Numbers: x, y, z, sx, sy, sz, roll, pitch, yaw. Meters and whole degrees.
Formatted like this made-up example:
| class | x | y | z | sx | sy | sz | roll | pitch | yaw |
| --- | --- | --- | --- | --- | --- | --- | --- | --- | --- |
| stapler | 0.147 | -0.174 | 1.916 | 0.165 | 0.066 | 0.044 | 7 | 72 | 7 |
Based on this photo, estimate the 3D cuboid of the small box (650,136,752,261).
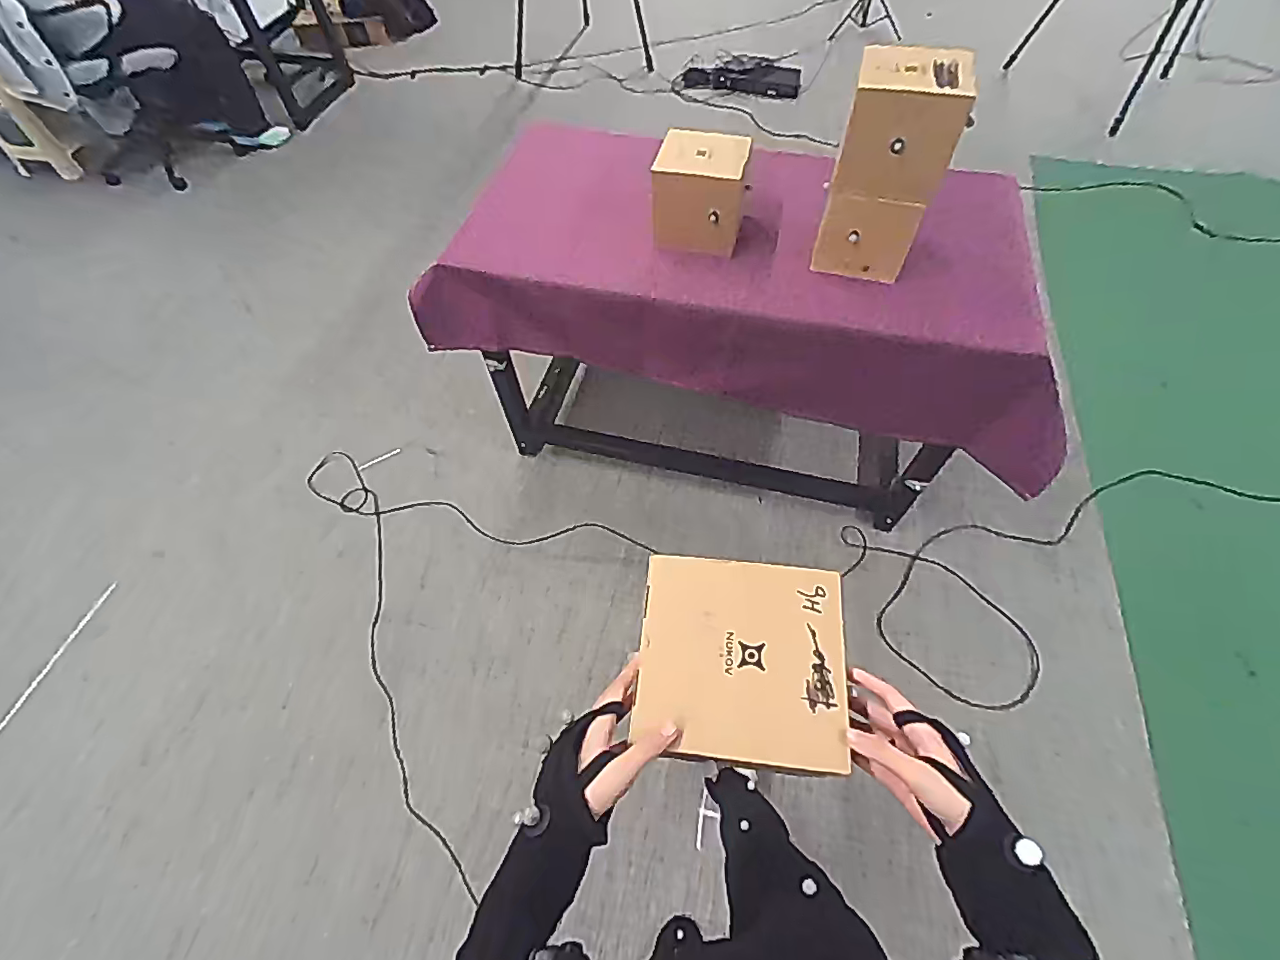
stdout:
| class | x | y | z | sx | sy | sz | roll | pitch | yaw |
| --- | --- | --- | --- | --- | --- | --- | --- | --- | --- |
| small box | 0.126 | -0.586 | 1.135 | 0.179 | 0.176 | 0.168 | 12 | 58 | 10 |

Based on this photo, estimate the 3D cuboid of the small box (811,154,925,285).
| class | x | y | z | sx | sy | sz | roll | pitch | yaw |
| --- | --- | --- | --- | --- | --- | --- | --- | --- | --- |
| small box | 0.448 | -0.515 | 1.077 | 0.168 | 0.176 | 0.179 | 13 | 58 | 11 |

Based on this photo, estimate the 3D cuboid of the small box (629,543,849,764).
| class | x | y | z | sx | sy | sz | roll | pitch | yaw |
| --- | --- | --- | --- | --- | --- | --- | --- | --- | --- |
| small box | 0.092 | 0.177 | 0.535 | 0.179 | 0.176 | 0.168 | 5 | 60 | 7 |
